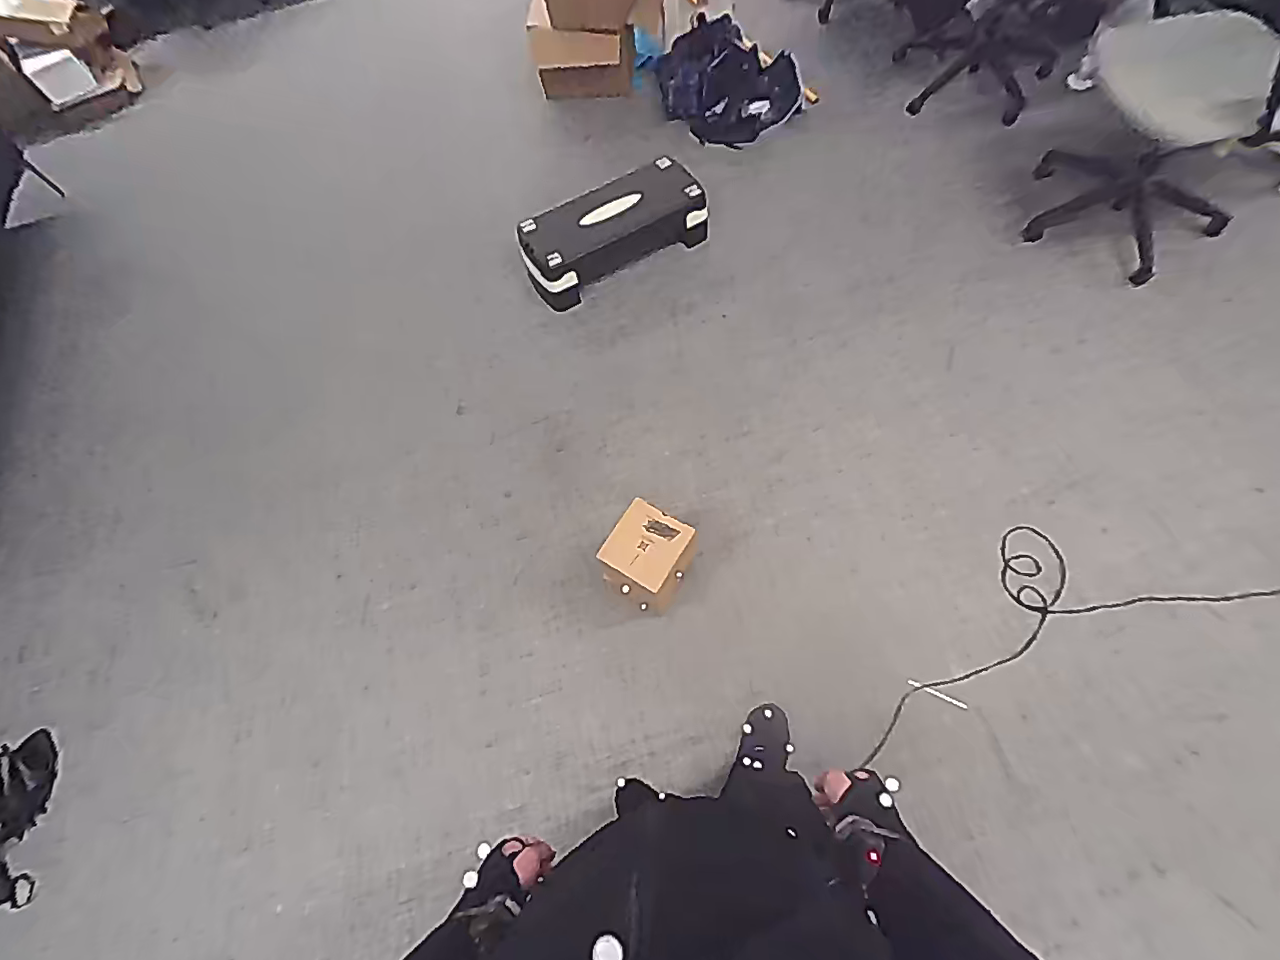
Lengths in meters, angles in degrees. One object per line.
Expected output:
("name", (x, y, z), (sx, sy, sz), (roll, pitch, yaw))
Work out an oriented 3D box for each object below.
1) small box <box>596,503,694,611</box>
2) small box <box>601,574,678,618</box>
("small box", (0.016, 0.190, 1.310), (0.168, 0.176, 0.179), (29, 71, 17))
("small box", (0.014, 0.252, 1.463), (0.168, 0.176, 0.179), (21, 67, 14))
